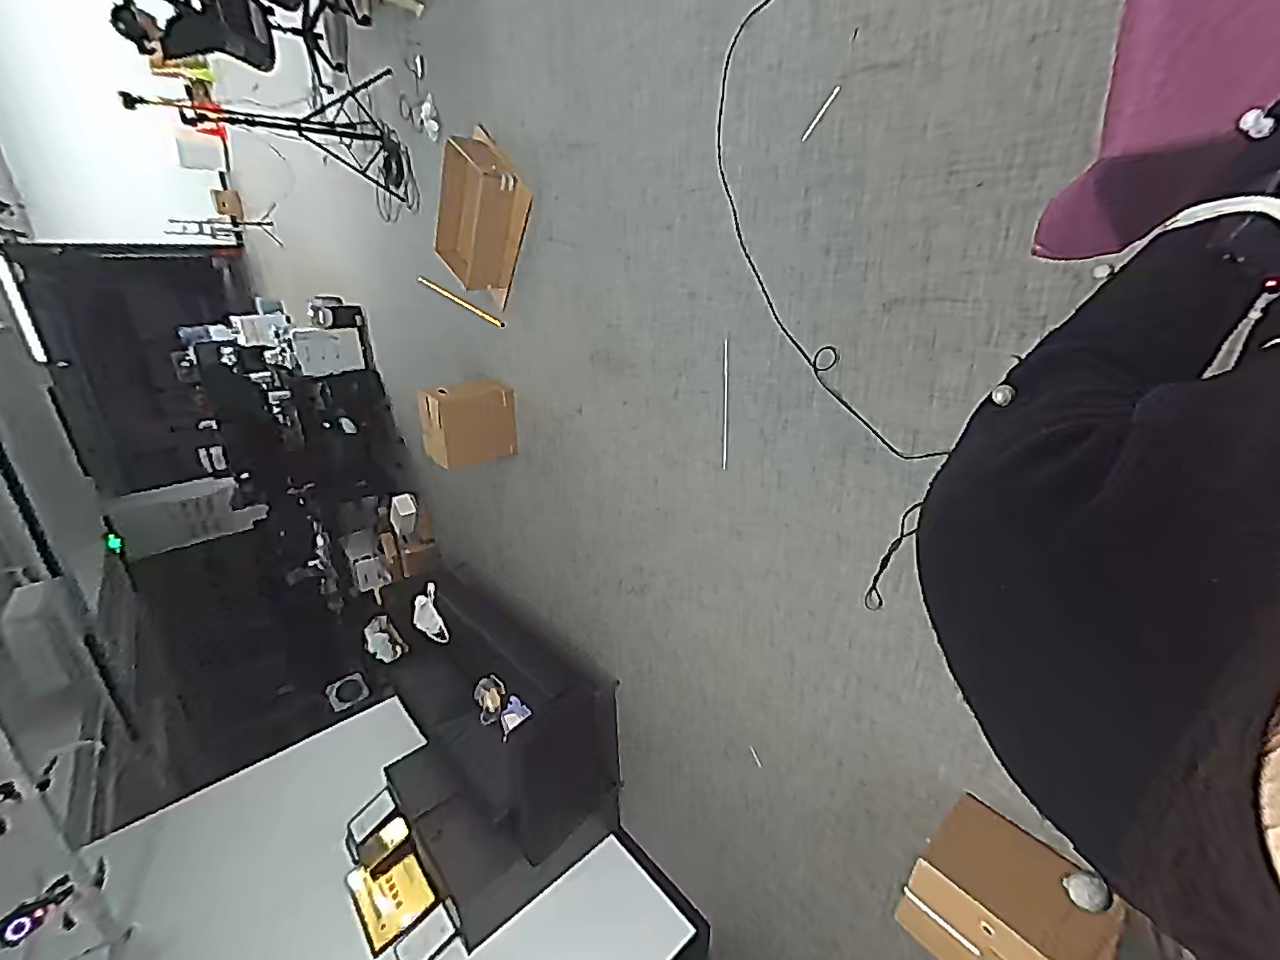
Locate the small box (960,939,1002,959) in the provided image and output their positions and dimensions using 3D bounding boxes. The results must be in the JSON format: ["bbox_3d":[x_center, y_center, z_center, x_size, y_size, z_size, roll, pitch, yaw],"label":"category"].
[{"bbox_3d":[0.866,1.312,1.345,0.168,0.176,0.179,27,127,42],"label":"small box"}]
